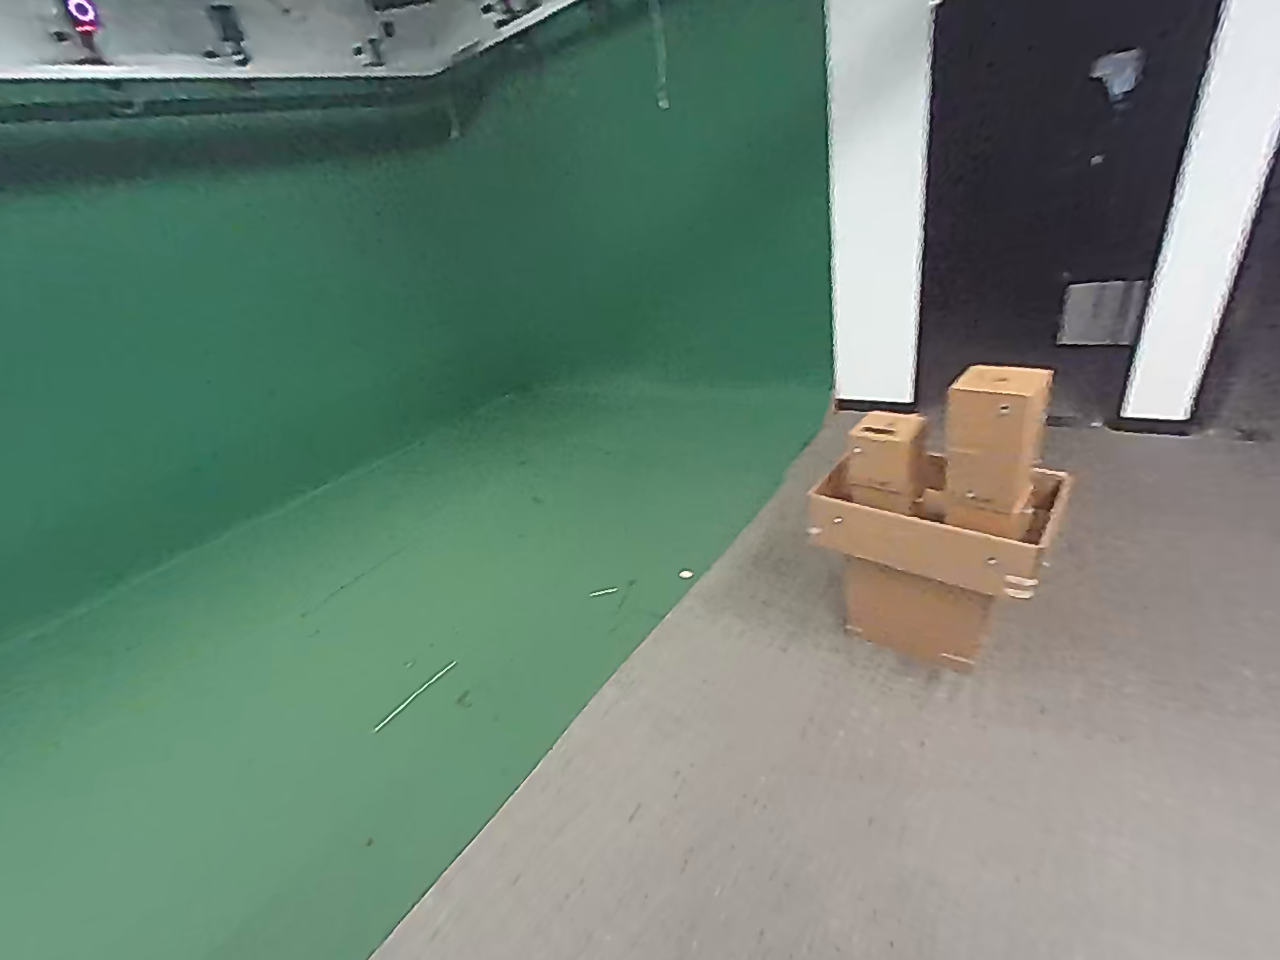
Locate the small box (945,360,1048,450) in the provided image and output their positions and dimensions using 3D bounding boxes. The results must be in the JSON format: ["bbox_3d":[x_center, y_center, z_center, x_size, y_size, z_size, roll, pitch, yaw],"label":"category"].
[{"bbox_3d":[0.897,-0.191,1.369,0.168,0.176,0.179,-34,33,-33],"label":"small box"}]

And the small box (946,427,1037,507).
[{"bbox_3d":[0.936,-0.053,1.450,0.168,0.176,0.179,15,41,43],"label":"small box"}]
